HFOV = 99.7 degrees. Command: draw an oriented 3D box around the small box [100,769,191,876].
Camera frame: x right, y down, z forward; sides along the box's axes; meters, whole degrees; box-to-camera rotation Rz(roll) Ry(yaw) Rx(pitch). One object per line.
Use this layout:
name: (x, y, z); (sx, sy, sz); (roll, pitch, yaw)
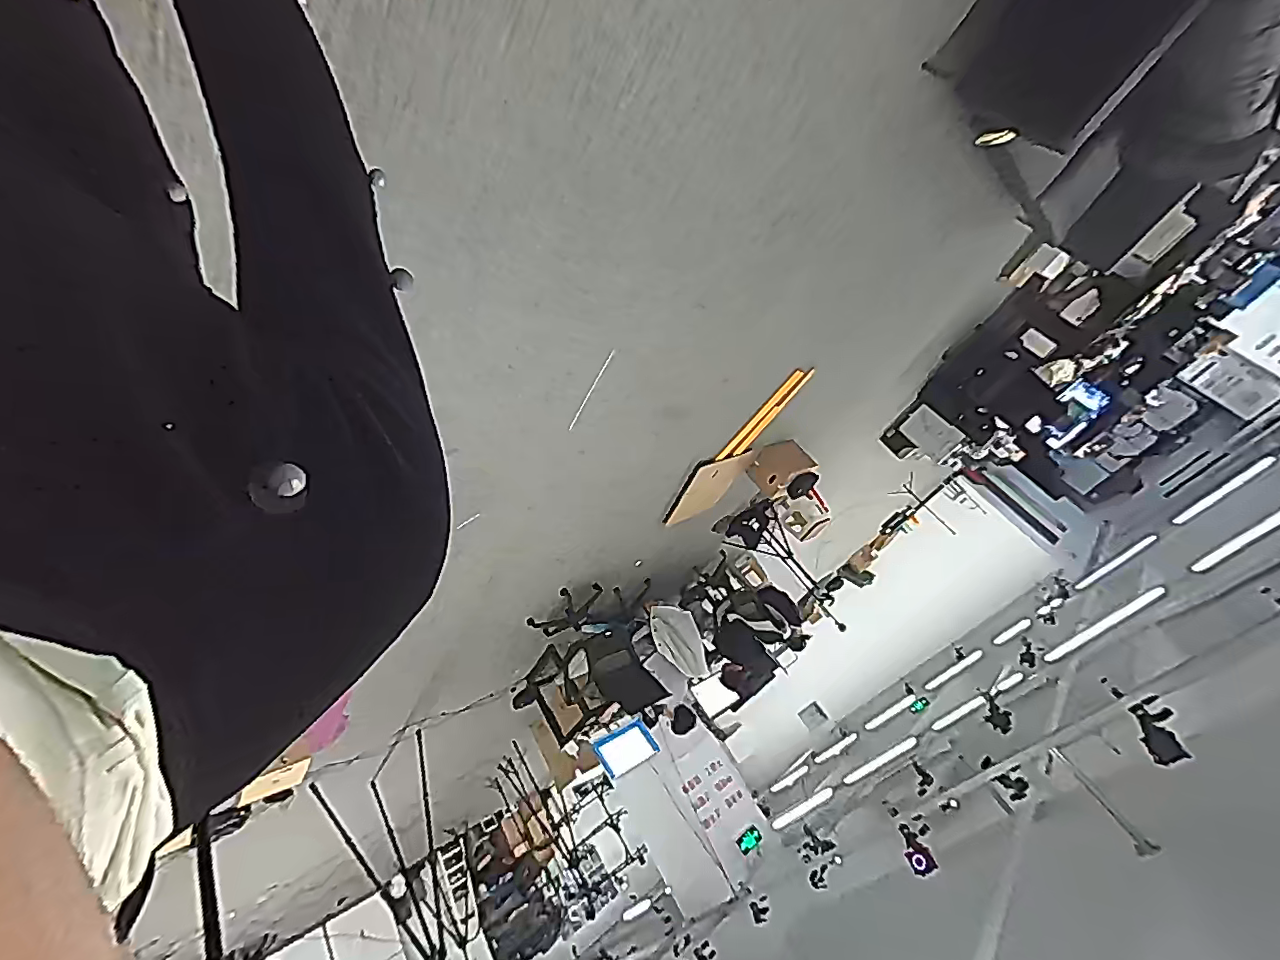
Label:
small box: (-1.362, 0.931, 1.487); (0.168, 0.176, 0.179); (-6, 140, -46)

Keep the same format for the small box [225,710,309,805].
small box: (-1.118, 0.821, 1.613); (0.168, 0.176, 0.179); (-5, 139, -47)
